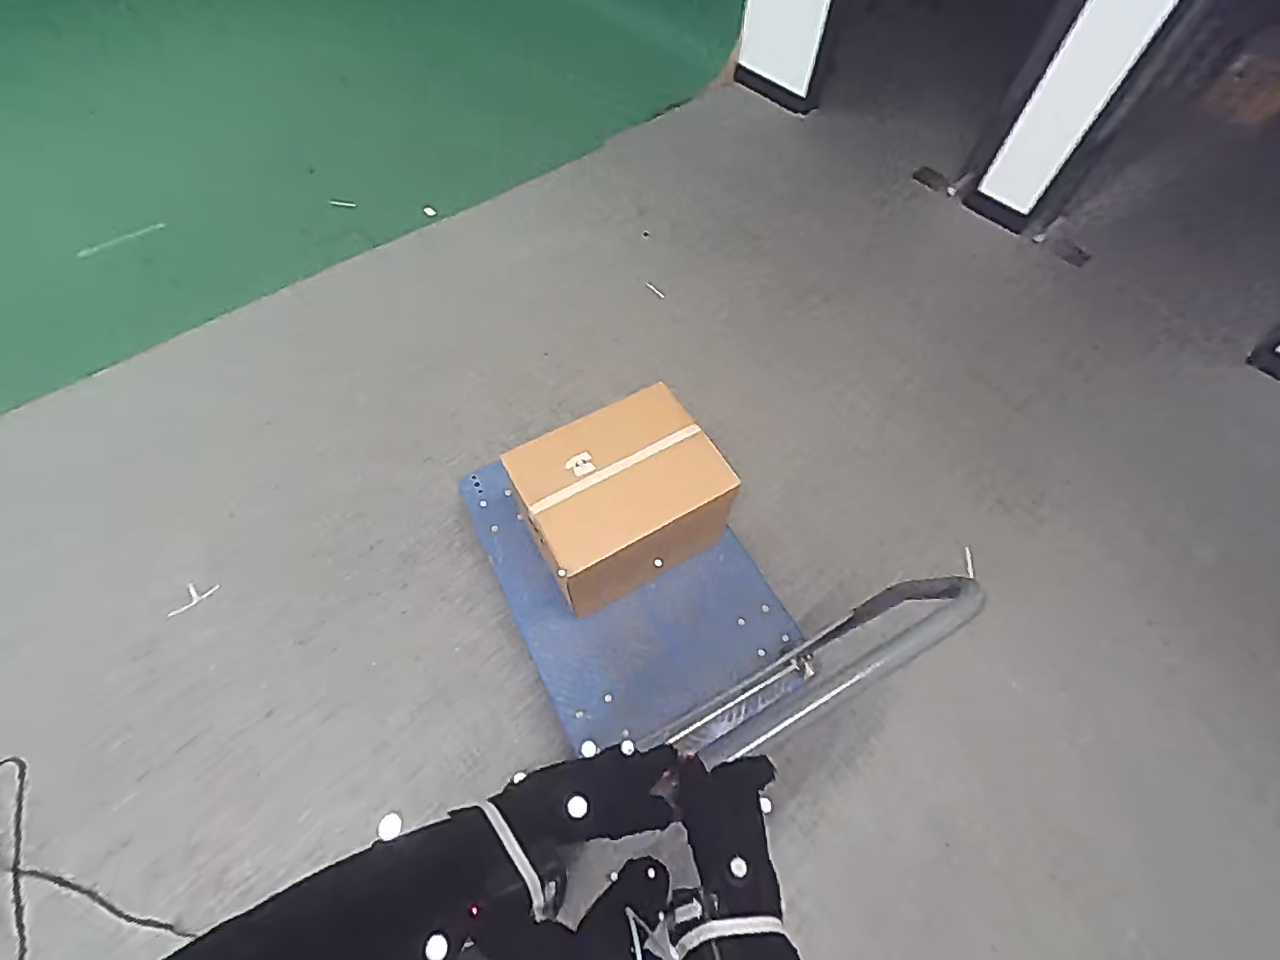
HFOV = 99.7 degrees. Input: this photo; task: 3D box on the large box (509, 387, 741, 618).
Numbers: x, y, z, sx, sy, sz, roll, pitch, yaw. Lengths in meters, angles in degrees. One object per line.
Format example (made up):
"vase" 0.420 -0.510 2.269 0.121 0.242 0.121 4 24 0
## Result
"large box" -0.034 0.058 1.259 0.408 0.320 0.320 -27 64 -16
